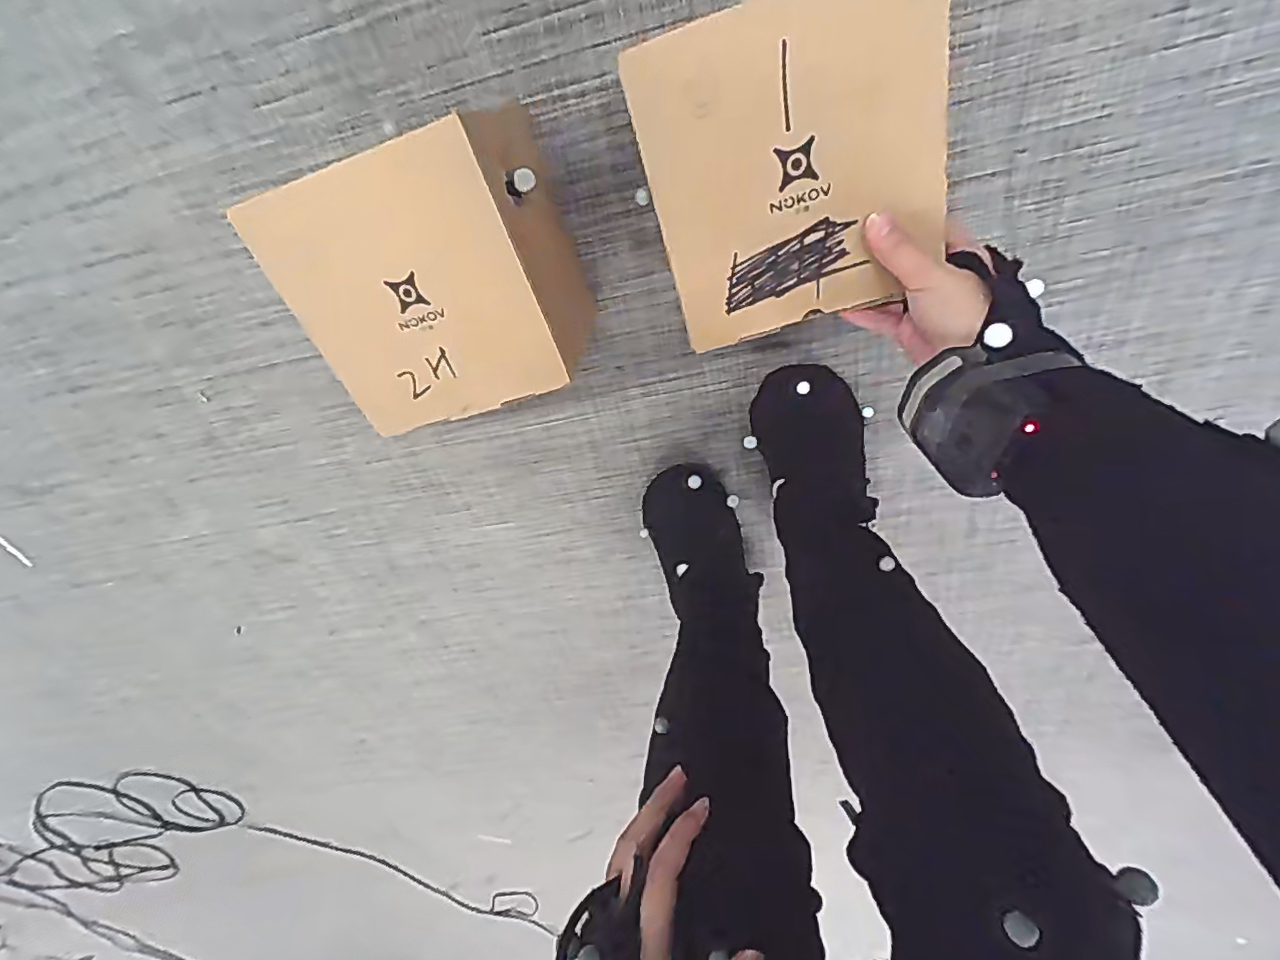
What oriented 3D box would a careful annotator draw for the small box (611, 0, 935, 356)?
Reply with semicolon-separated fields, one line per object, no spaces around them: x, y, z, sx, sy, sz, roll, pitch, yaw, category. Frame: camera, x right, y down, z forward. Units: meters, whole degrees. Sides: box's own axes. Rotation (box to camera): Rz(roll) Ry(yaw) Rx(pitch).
0.088;-0.218;0.383;0.168;0.176;0.179;-14;124;11;small box

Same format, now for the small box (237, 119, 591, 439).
-0.149;-0.164;0.433;0.168;0.176;0.179;-13;125;13;small box
